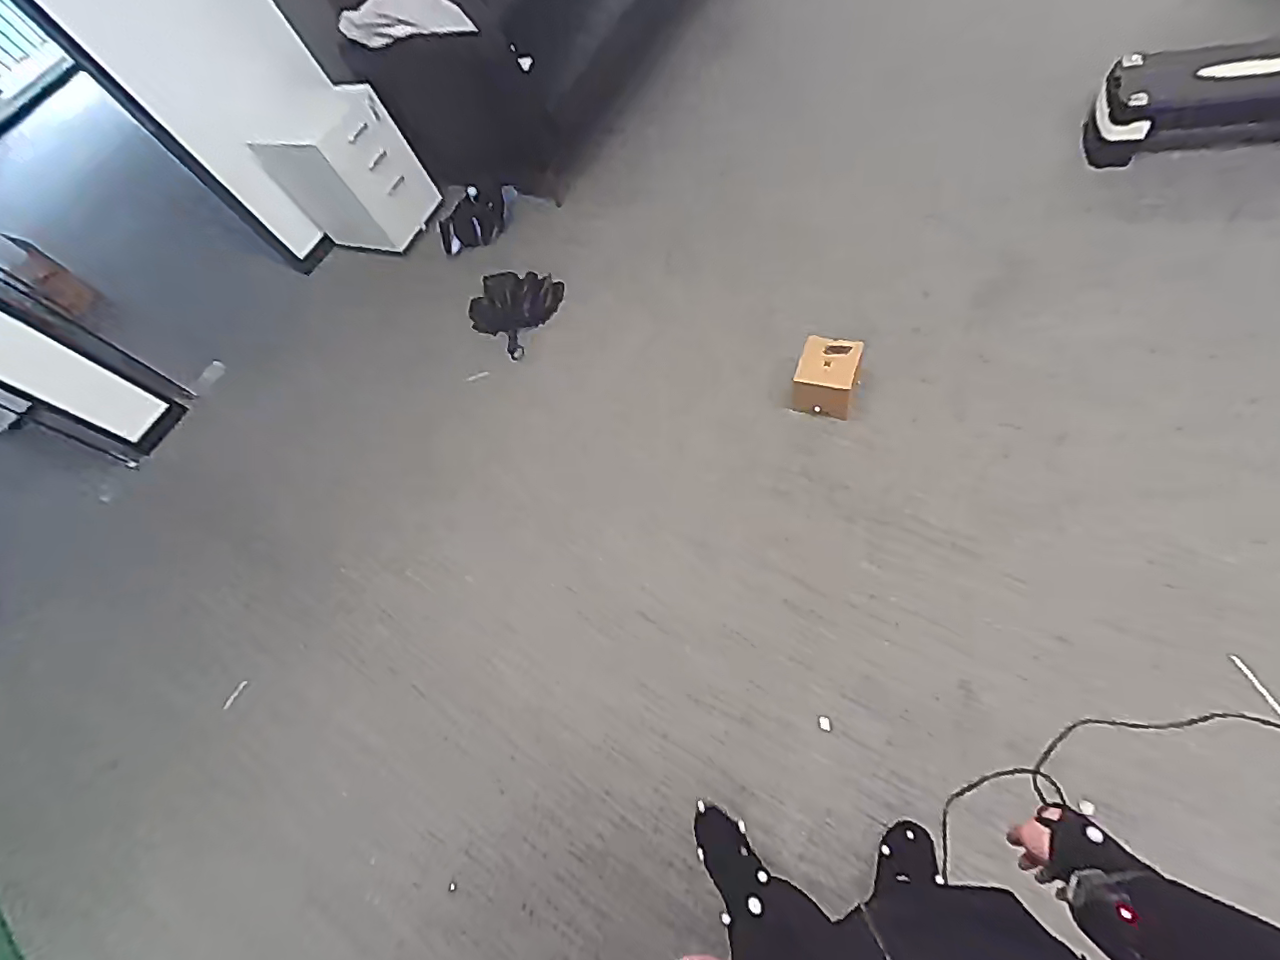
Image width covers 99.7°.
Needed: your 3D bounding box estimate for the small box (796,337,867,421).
[{"bbox_3d":[0.586,-0.310,1.665,0.168,0.176,0.179,15,70,25],"label":"small box"}]
